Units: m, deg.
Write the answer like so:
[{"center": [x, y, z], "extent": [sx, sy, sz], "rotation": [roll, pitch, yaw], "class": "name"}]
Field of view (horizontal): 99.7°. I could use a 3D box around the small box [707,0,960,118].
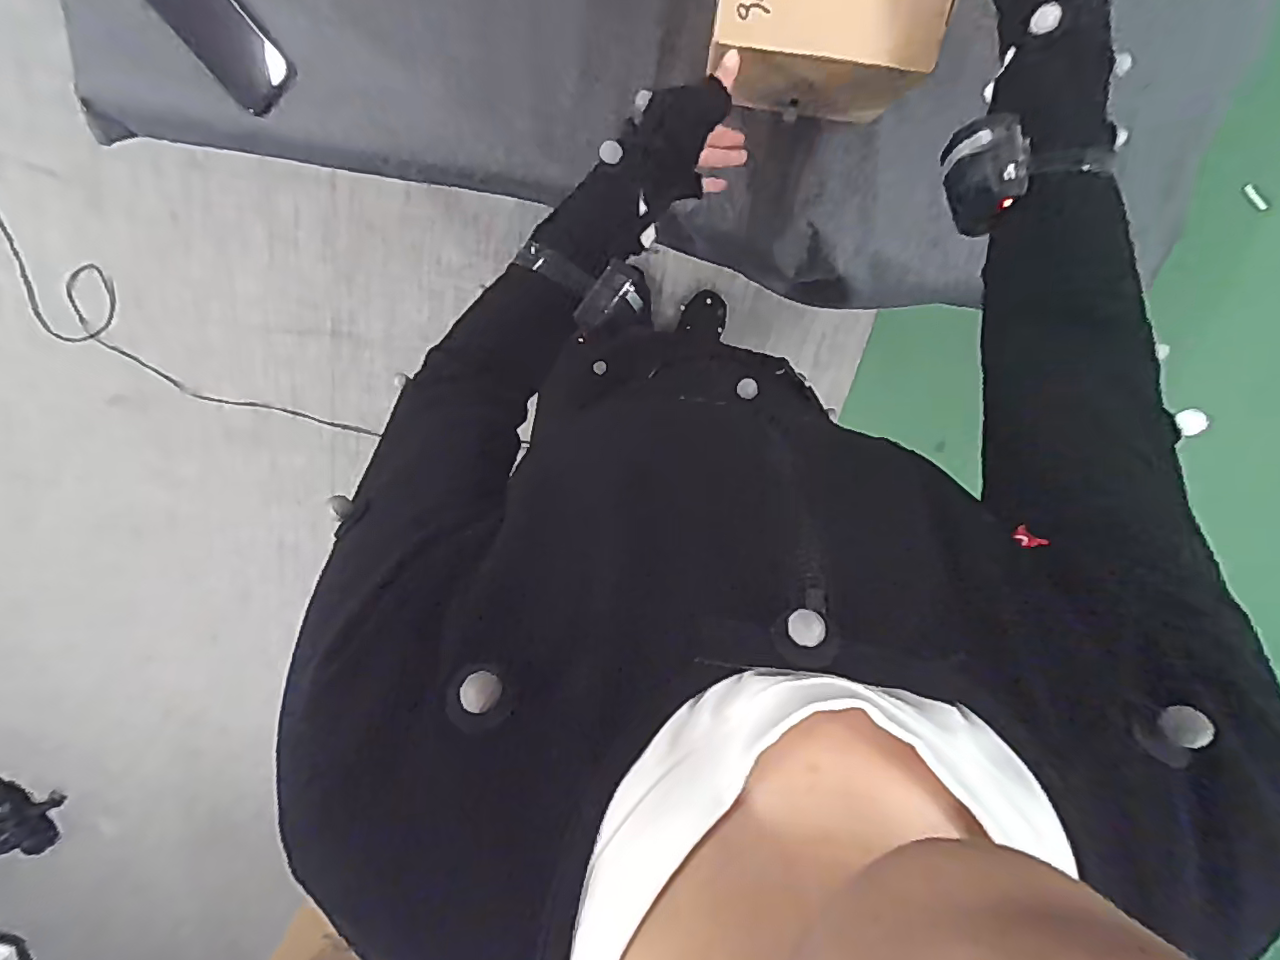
[{"center": [0.160, -0.429, 0.459], "extent": [0.179, 0.176, 0.168], "rotation": [9, 112, 0], "class": "small box"}]
